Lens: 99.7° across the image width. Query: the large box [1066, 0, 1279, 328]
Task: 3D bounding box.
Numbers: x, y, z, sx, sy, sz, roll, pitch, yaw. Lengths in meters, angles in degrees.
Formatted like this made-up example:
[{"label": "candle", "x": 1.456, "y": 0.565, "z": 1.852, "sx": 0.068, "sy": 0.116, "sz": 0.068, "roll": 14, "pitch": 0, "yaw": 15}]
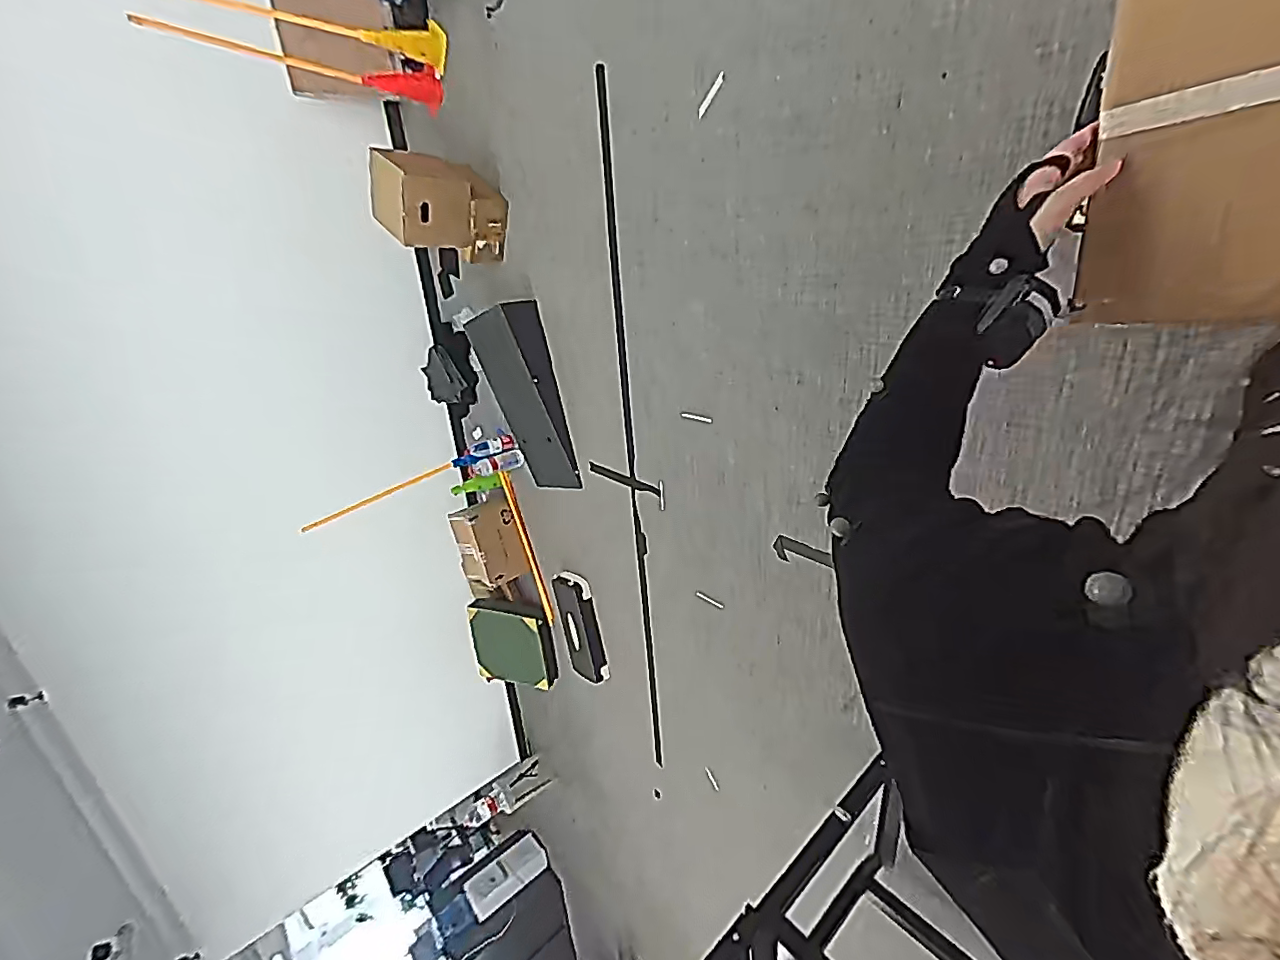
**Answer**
[{"label": "large box", "x": 0.608, "y": -0.284, "z": 0.376, "sx": 0.408, "sy": 0.320, "sz": 0.320, "roll": 17, "pitch": 117, "yaw": 48}]
